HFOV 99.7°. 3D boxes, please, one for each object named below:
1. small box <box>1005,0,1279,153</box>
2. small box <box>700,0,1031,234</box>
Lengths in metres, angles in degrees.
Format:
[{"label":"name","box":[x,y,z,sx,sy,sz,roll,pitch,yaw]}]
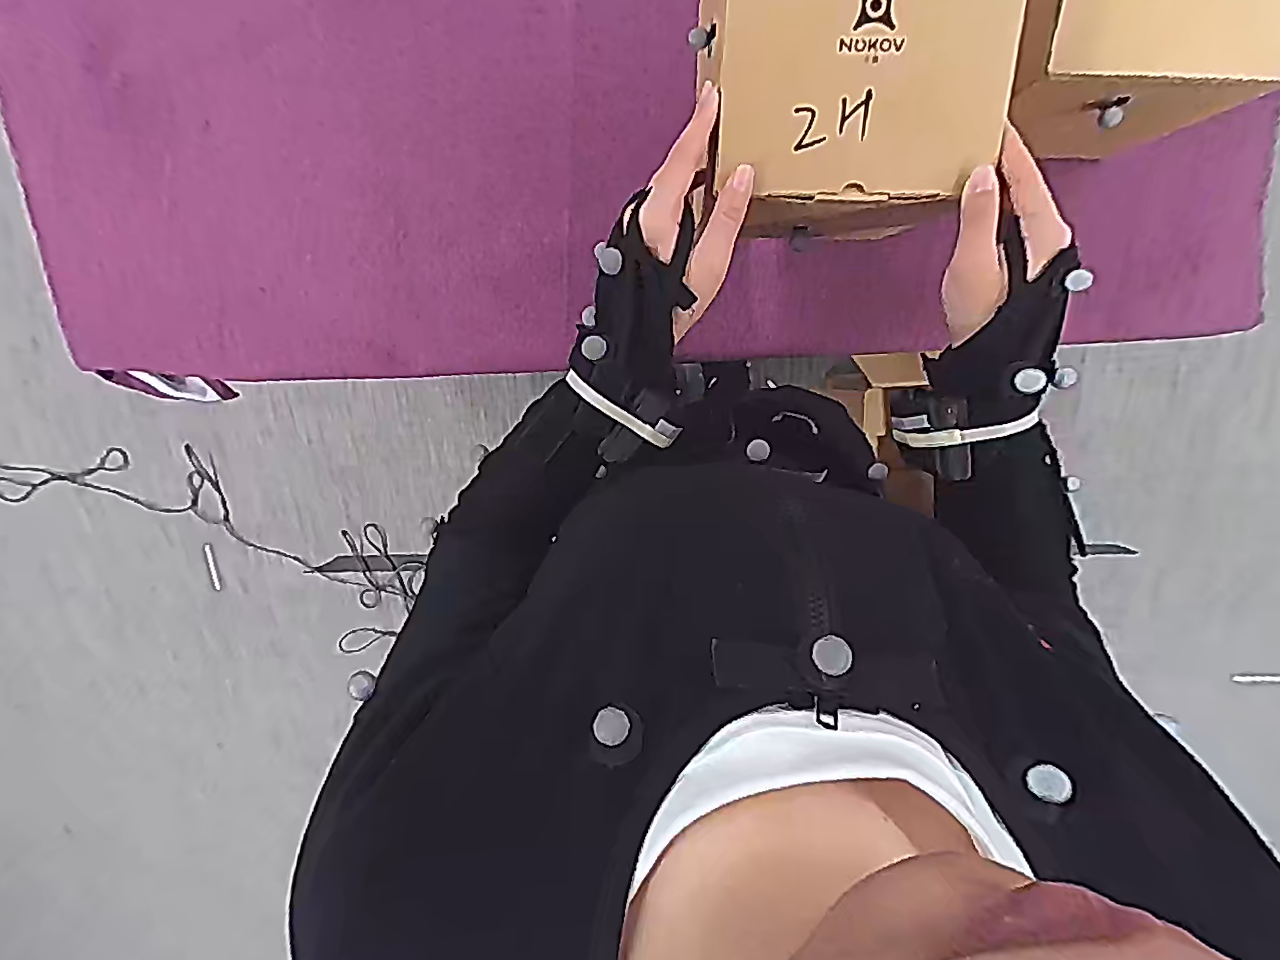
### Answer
[{"label":"small box","box":[0.383,-0.386,0.441,0.179,0.176,0.168,3,104,2]},{"label":"small box","box":[0.132,-0.279,0.374,0.168,0.176,0.179,0,107,1]}]
